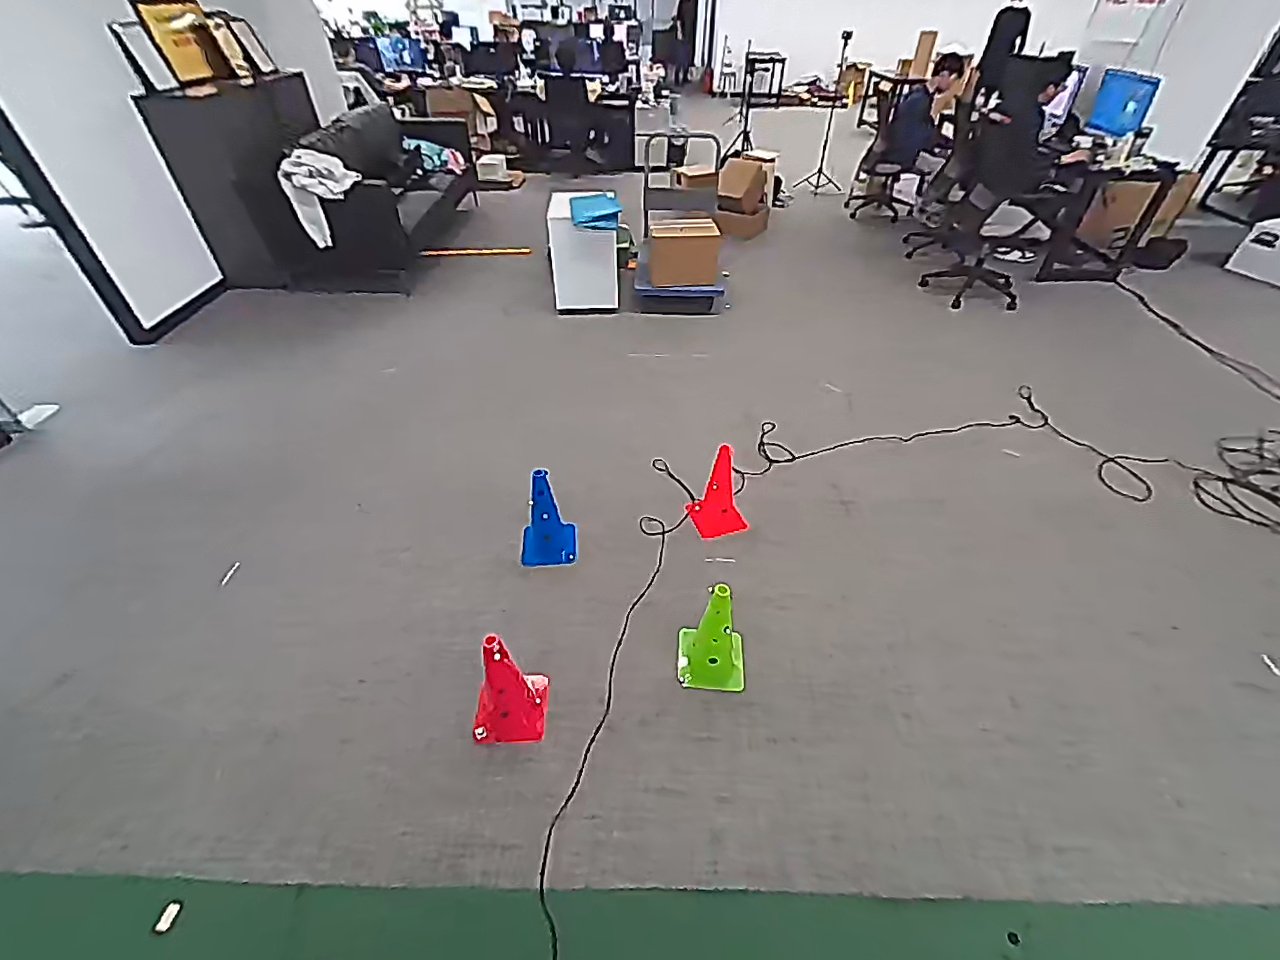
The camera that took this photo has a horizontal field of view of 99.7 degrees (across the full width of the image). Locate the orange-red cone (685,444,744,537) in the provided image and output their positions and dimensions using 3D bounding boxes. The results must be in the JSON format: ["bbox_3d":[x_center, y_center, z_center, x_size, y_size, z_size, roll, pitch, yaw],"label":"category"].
[{"bbox_3d":[0.295,0.015,2.035,0.198,0.360,0.199,-12,45,-12],"label":"orange-red cone"}]

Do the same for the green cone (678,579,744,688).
[{"bbox_3d":[0.222,0.422,1.571,0.200,0.368,0.202,3,41,2],"label":"green cone"}]
